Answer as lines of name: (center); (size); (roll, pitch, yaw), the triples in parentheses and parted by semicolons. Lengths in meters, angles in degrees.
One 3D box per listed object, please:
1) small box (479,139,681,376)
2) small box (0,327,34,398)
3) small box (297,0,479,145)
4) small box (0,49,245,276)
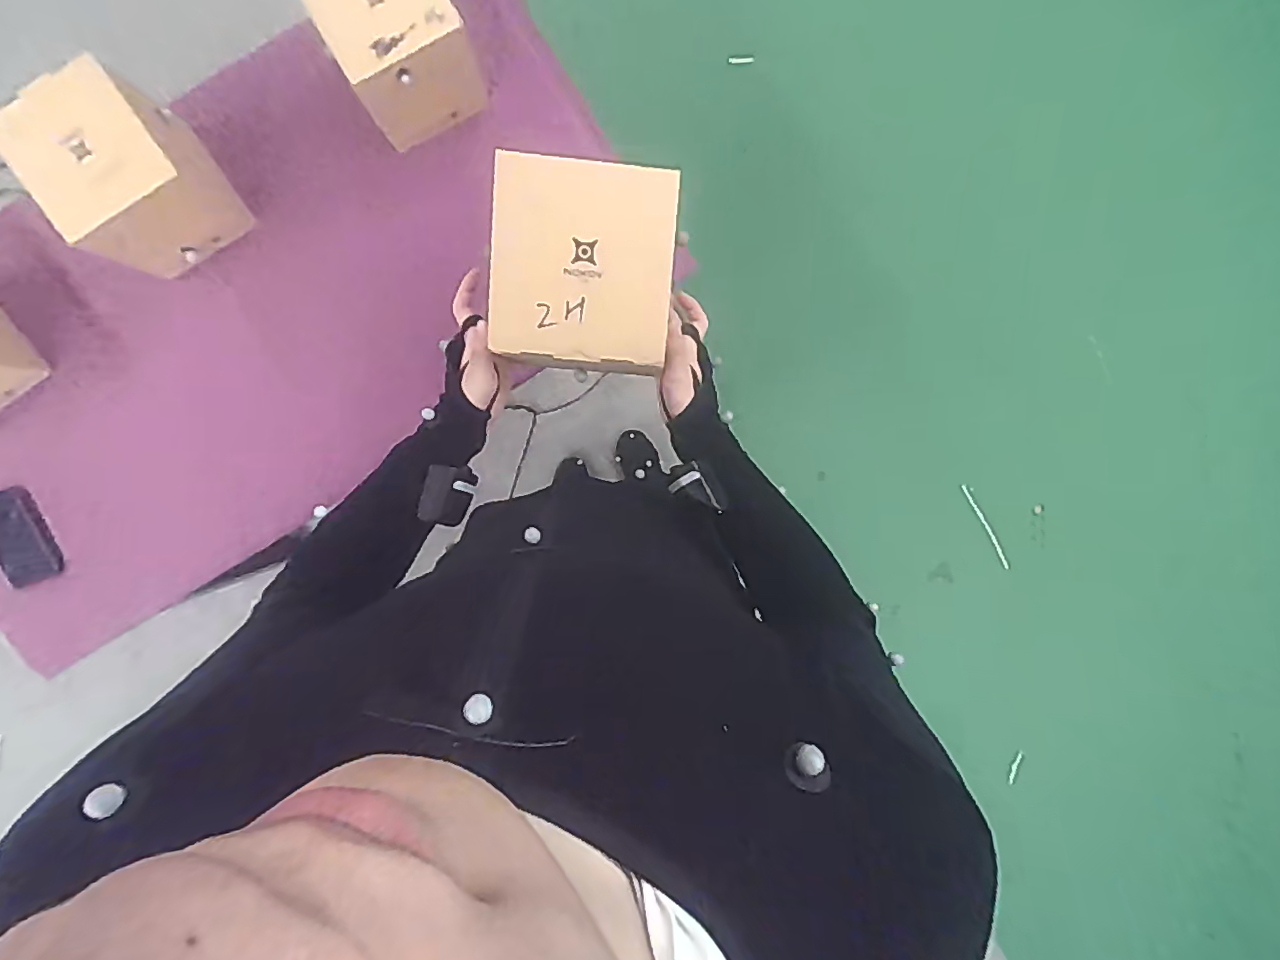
small box: (-0.059, -0.208, 0.555); (0.168, 0.176, 0.179); (5, 97, -4)
small box: (-1.015, -0.178, 0.731); (0.168, 0.176, 0.179); (-37, 95, -2)
small box: (-0.352, -0.621, 0.753); (0.168, 0.176, 0.179); (-31, 95, -1)
small box: (-0.707, -0.415, 0.741); (0.168, 0.176, 0.179); (-34, 96, -1)
